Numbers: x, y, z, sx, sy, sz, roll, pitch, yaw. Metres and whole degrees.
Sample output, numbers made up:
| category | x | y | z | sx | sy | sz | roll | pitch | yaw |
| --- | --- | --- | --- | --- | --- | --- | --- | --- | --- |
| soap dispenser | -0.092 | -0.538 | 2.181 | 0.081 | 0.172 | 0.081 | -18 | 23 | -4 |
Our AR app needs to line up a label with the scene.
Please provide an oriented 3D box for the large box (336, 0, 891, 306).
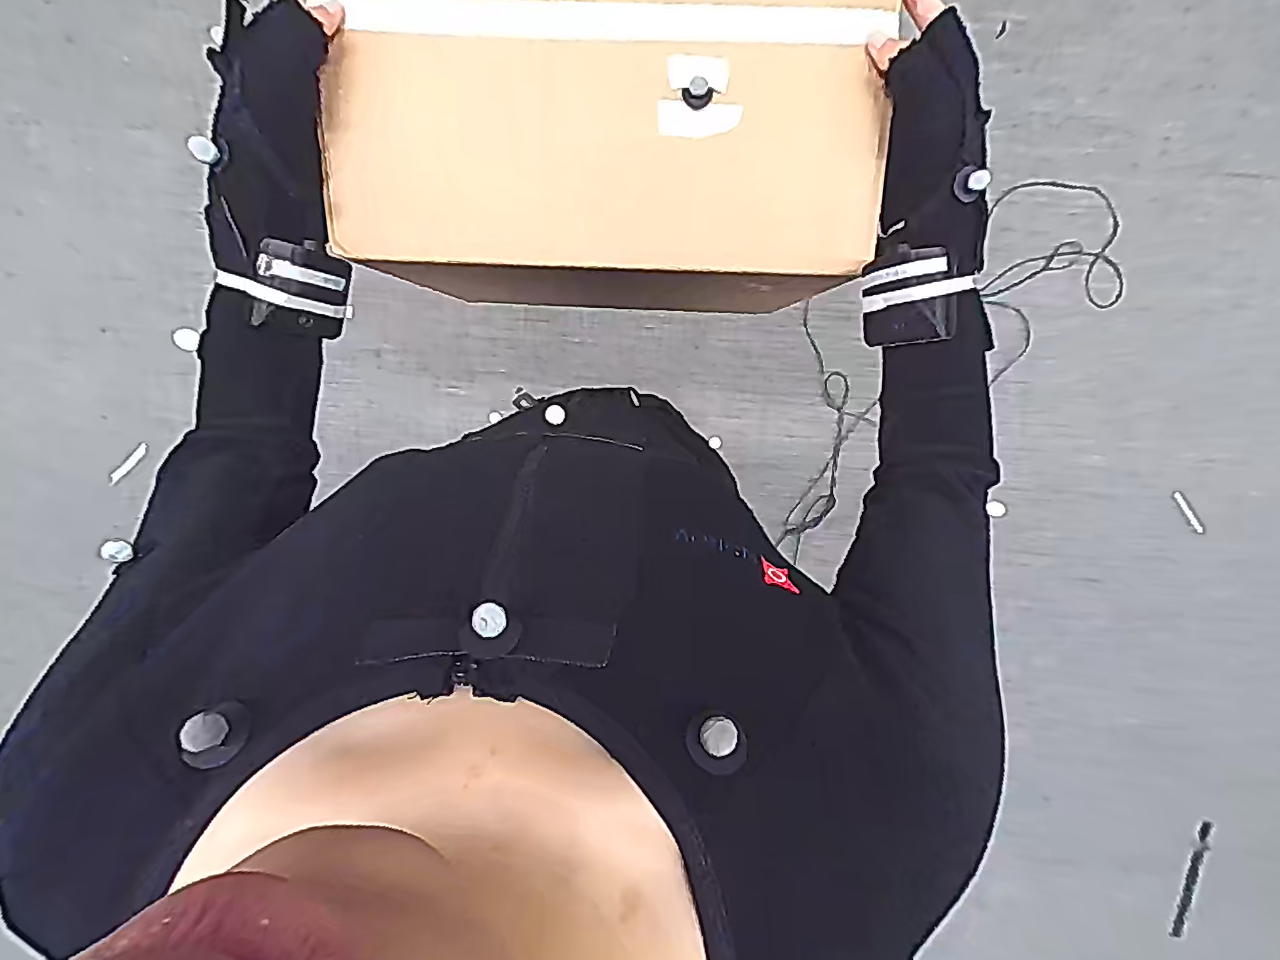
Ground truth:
| category | x | y | z | sx | sy | sz | roll | pitch | yaw |
| --- | --- | --- | --- | --- | --- | --- | --- | --- | --- |
| large box | -0.022 | -0.351 | 0.534 | 0.408 | 0.320 | 0.320 | 2 | 102 | -1 |
